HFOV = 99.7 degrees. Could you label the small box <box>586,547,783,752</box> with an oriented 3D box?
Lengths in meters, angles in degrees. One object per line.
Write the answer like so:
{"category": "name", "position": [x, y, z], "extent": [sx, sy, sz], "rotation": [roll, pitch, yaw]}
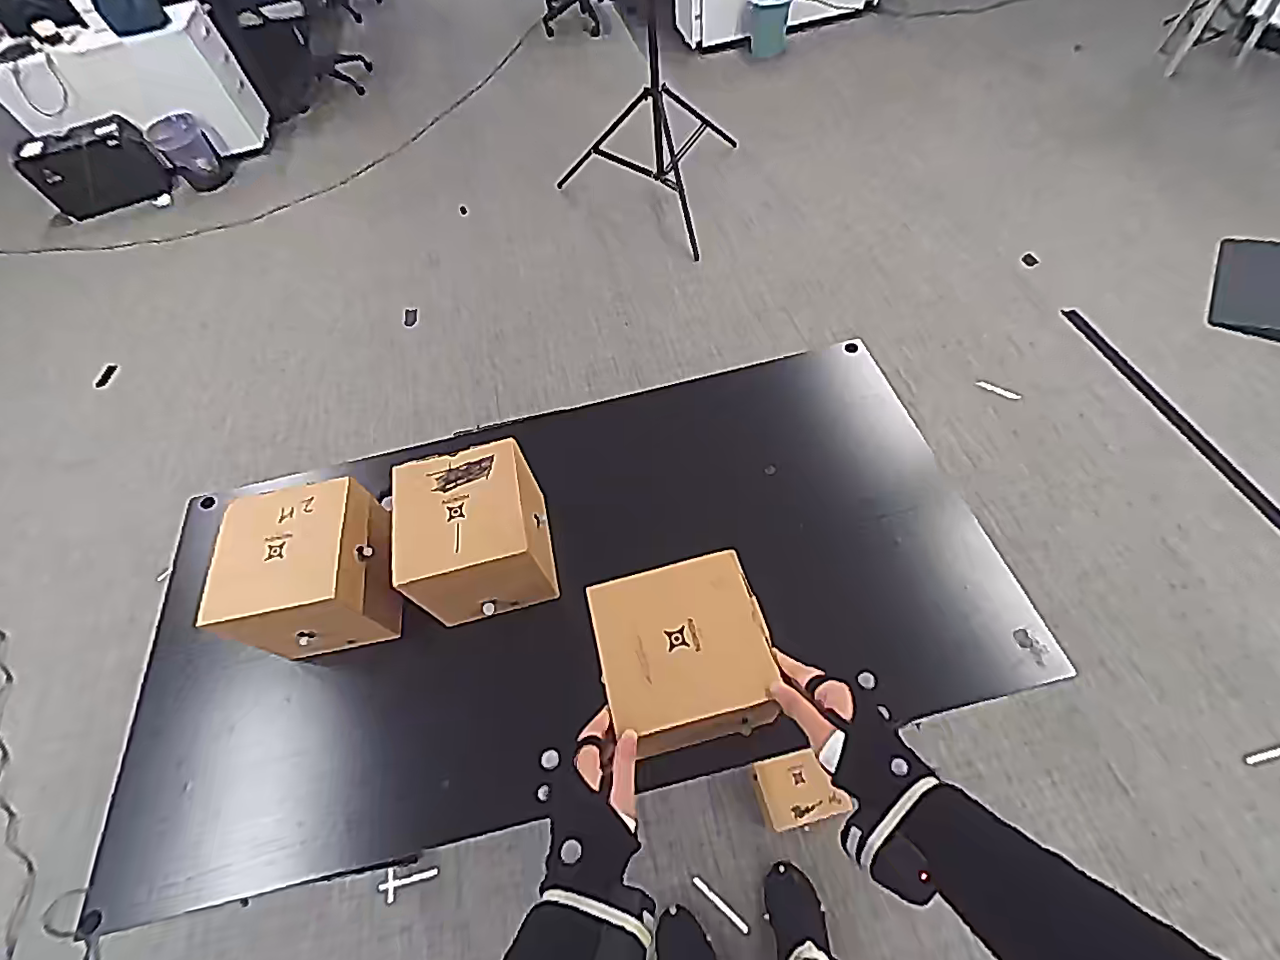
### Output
{"category": "small box", "position": [0.049, 0.205, 0.637], "extent": [0.179, 0.176, 0.168], "rotation": [-16, 56, -2]}

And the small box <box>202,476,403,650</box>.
{"category": "small box", "position": [-0.441, 0.123, 0.746], "extent": [0.168, 0.176, 0.179], "rotation": [-11, 58, -1]}

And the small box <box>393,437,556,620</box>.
{"category": "small box", "position": [-0.223, 0.072, 0.751], "extent": [0.168, 0.176, 0.179], "rotation": [-15, 59, -2]}

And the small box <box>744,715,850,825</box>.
{"category": "small box", "position": [0.333, 0.642, 1.190], "extent": [0.168, 0.176, 0.179], "rotation": [-15, 58, -1]}
